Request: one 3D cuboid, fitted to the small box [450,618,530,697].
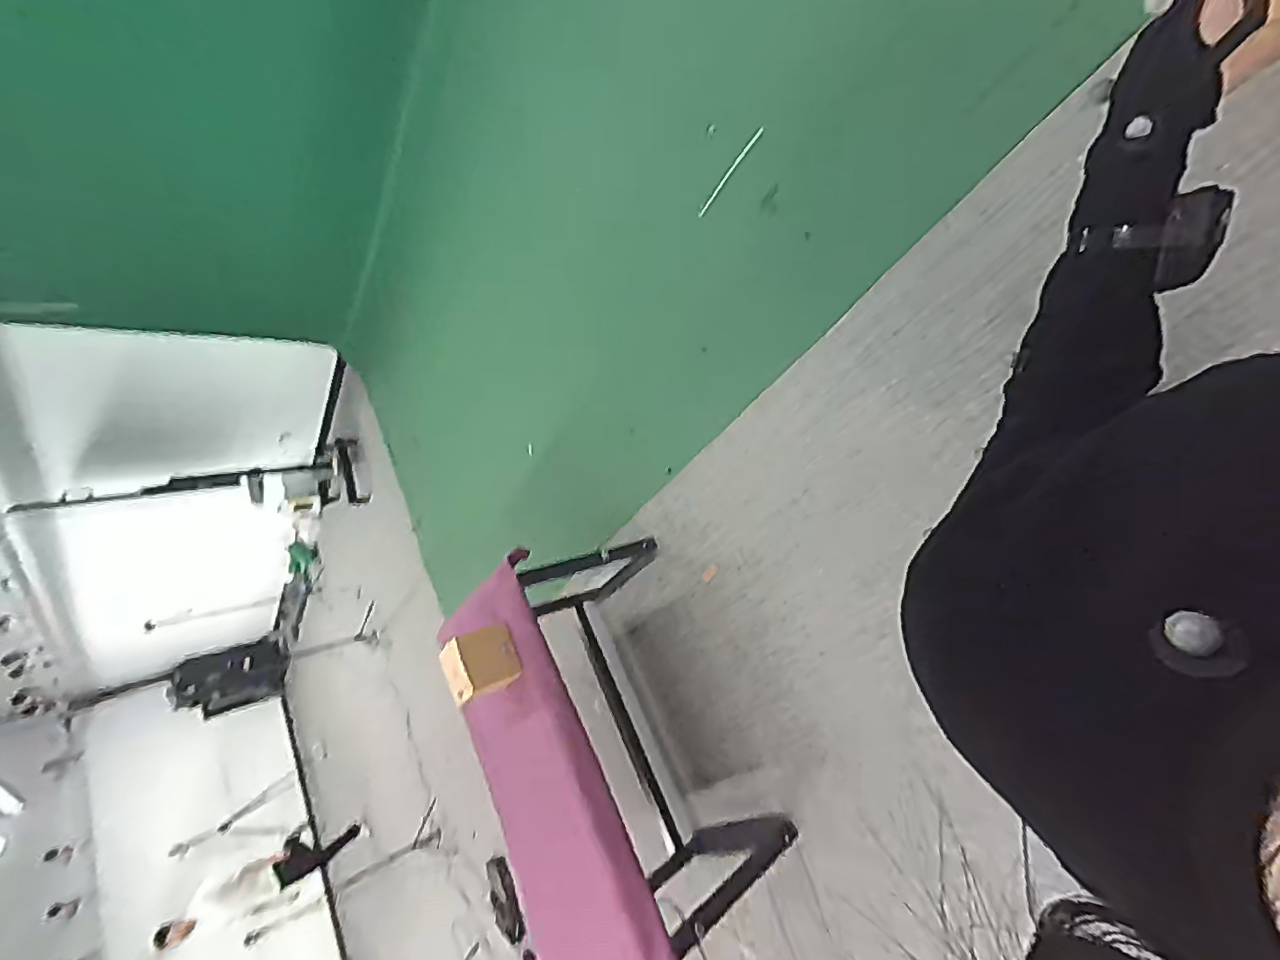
[{"bbox_3d":[-0.470,0.550,1.696,0.168,0.176,0.179,-45,64,44],"label":"small box"}]

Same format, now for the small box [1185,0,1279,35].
[{"bbox_3d":[0.458,-0.401,0.314,0.168,0.176,0.179,-1,121,33],"label":"small box"}]
